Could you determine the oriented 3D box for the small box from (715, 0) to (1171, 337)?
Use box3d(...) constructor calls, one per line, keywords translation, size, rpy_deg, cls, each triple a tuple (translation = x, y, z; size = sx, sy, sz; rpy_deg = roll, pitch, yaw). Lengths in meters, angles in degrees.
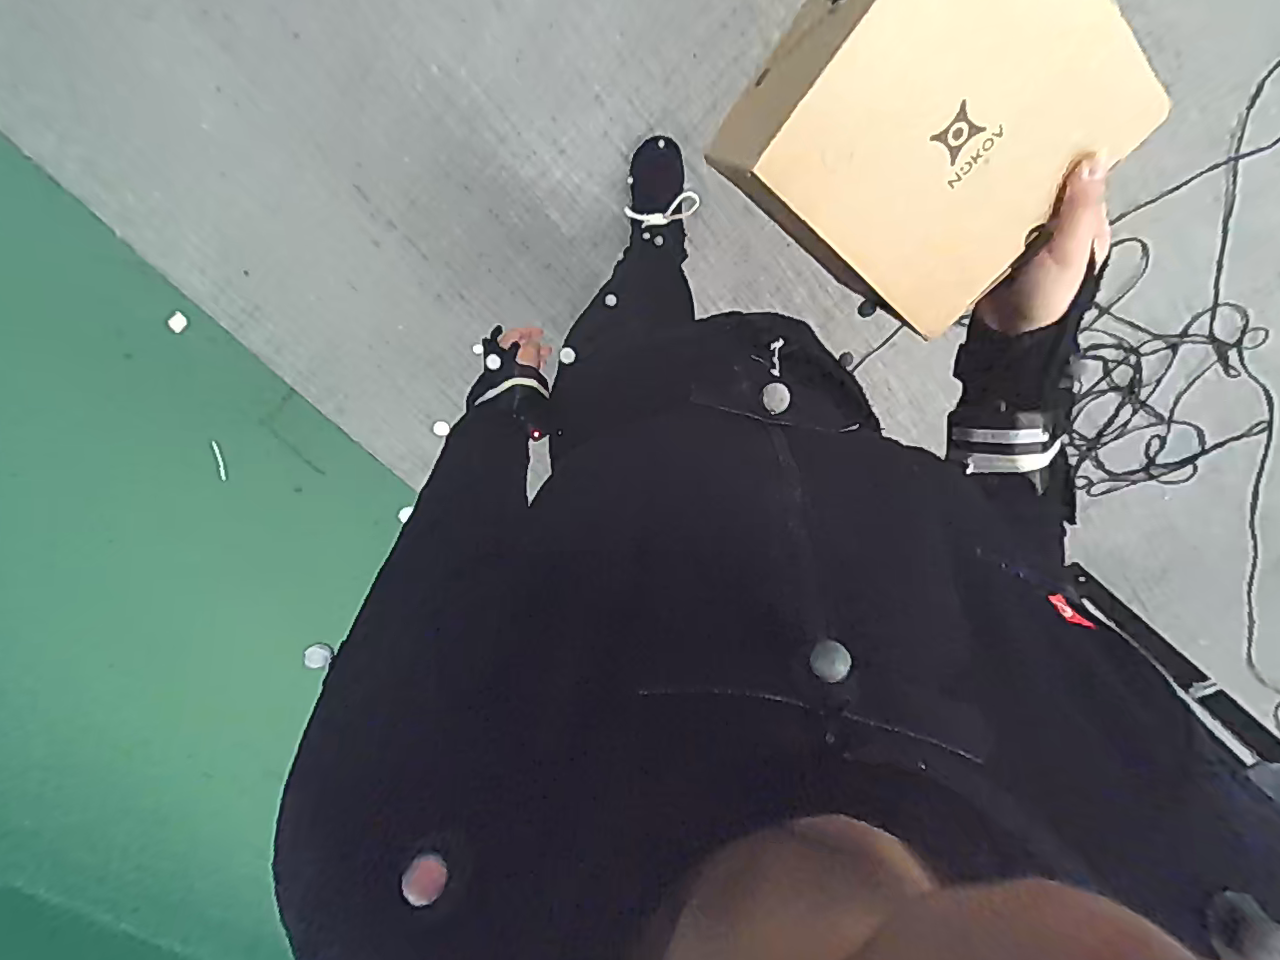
box3d(translation=(0.175, -0.233, 0.367), size=(0.179, 0.176, 0.168), rpy_deg=(31, 115, -24), cls="small box")
